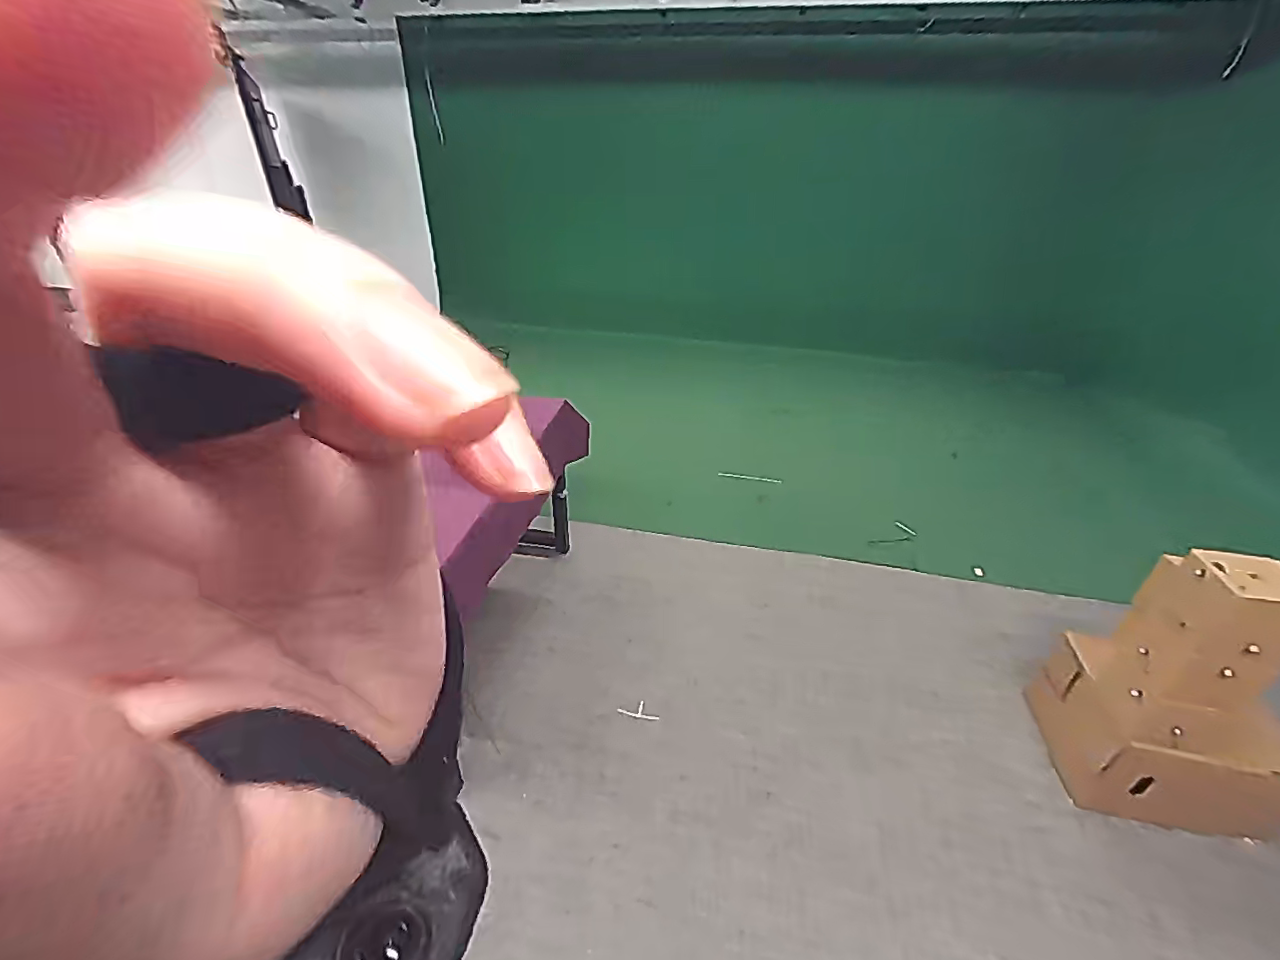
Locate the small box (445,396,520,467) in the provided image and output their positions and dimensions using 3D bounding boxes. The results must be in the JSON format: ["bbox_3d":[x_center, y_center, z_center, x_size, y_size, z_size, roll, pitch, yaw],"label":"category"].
[{"bbox_3d":[-0.490,-0.154,1.718,0.168,0.176,0.179,7,31,9],"label":"small box"}]

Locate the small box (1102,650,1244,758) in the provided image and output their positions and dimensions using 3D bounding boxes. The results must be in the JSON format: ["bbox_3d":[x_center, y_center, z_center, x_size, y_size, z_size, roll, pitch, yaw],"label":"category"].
[{"bbox_3d":[1.340,0.570,1.377,0.168,0.176,0.179,9,32,11],"label":"small box"}]

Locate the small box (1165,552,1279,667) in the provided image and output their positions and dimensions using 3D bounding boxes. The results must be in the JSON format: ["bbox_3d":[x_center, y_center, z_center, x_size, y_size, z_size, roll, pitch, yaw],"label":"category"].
[{"bbox_3d":[1.352,0.290,1.207,0.179,0.176,0.168,9,32,11],"label":"small box"}]

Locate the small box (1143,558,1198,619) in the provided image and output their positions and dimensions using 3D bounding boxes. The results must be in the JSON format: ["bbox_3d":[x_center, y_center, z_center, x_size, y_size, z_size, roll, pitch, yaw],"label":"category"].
[{"bbox_3d":[1.535,0.340,1.460,0.168,0.176,0.179,9,30,7],"label":"small box"}]
